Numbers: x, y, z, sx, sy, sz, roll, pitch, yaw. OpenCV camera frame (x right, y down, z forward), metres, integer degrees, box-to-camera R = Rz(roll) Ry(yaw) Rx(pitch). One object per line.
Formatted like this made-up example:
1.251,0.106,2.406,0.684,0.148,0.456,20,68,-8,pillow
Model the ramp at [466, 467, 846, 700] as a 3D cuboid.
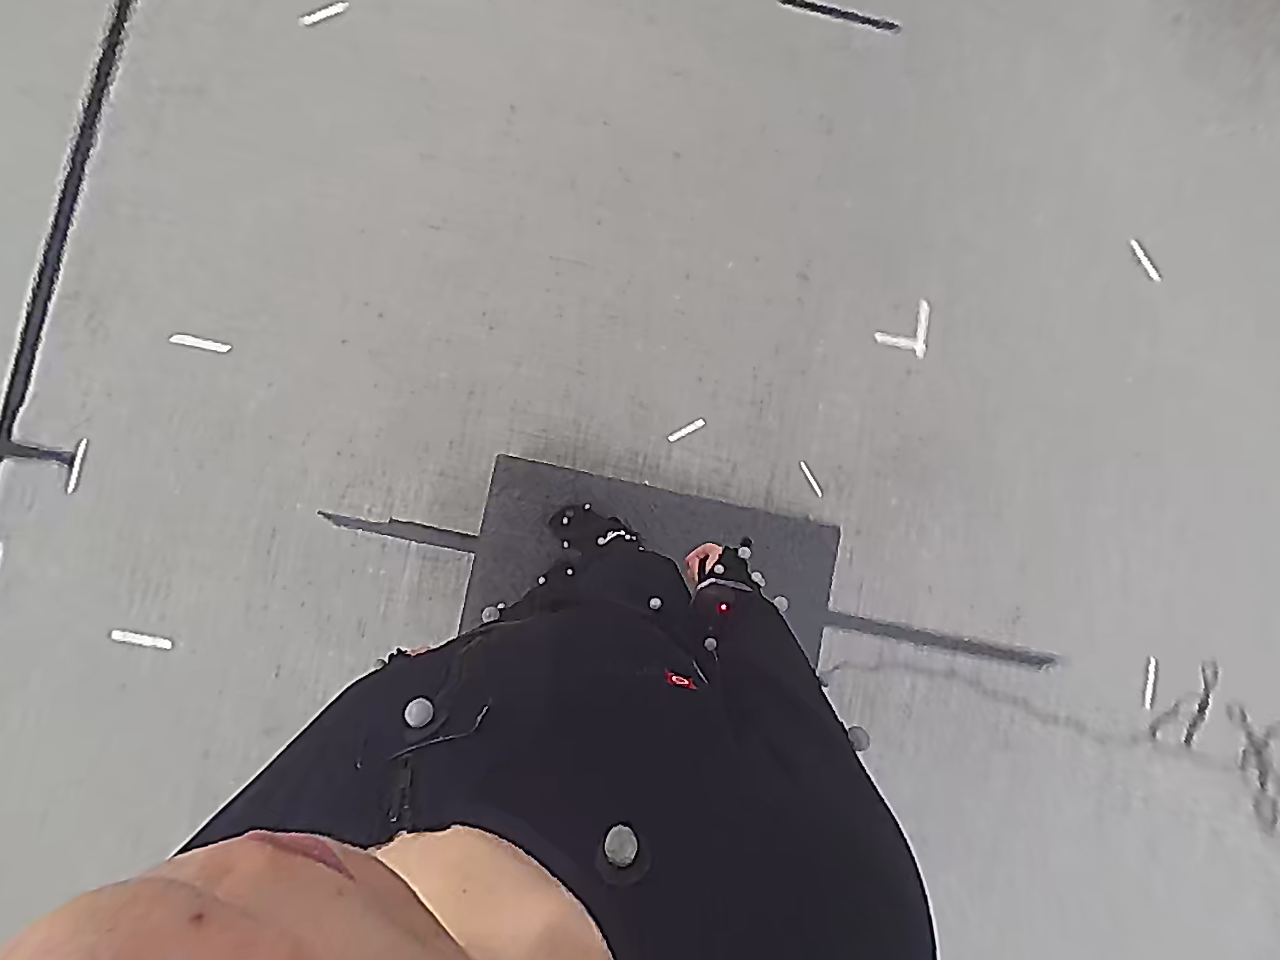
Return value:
0.092,0.295,1.445,0.991,0.206,0.509,9,84,-4,ramp
